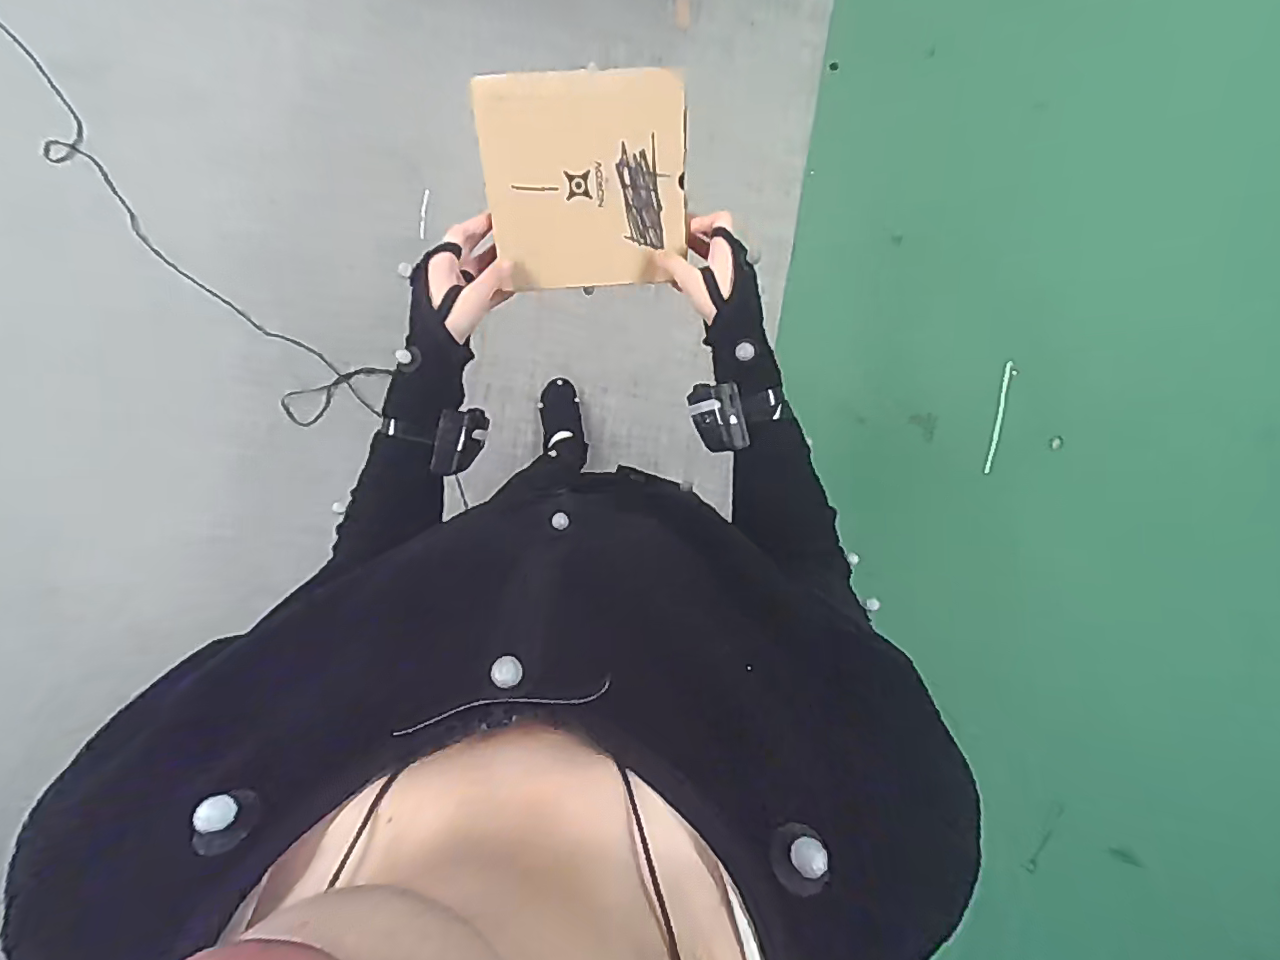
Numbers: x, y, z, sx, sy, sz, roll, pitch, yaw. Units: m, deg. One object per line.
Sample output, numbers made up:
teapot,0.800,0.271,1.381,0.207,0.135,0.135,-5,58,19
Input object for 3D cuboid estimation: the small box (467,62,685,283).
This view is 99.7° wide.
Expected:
small box,-0.054,-0.292,0.535,0.179,0.176,0.168,-4,115,-2

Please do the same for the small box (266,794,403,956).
small box,-0.568,0.739,1.025,0.168,0.176,0.179,6,92,-1
